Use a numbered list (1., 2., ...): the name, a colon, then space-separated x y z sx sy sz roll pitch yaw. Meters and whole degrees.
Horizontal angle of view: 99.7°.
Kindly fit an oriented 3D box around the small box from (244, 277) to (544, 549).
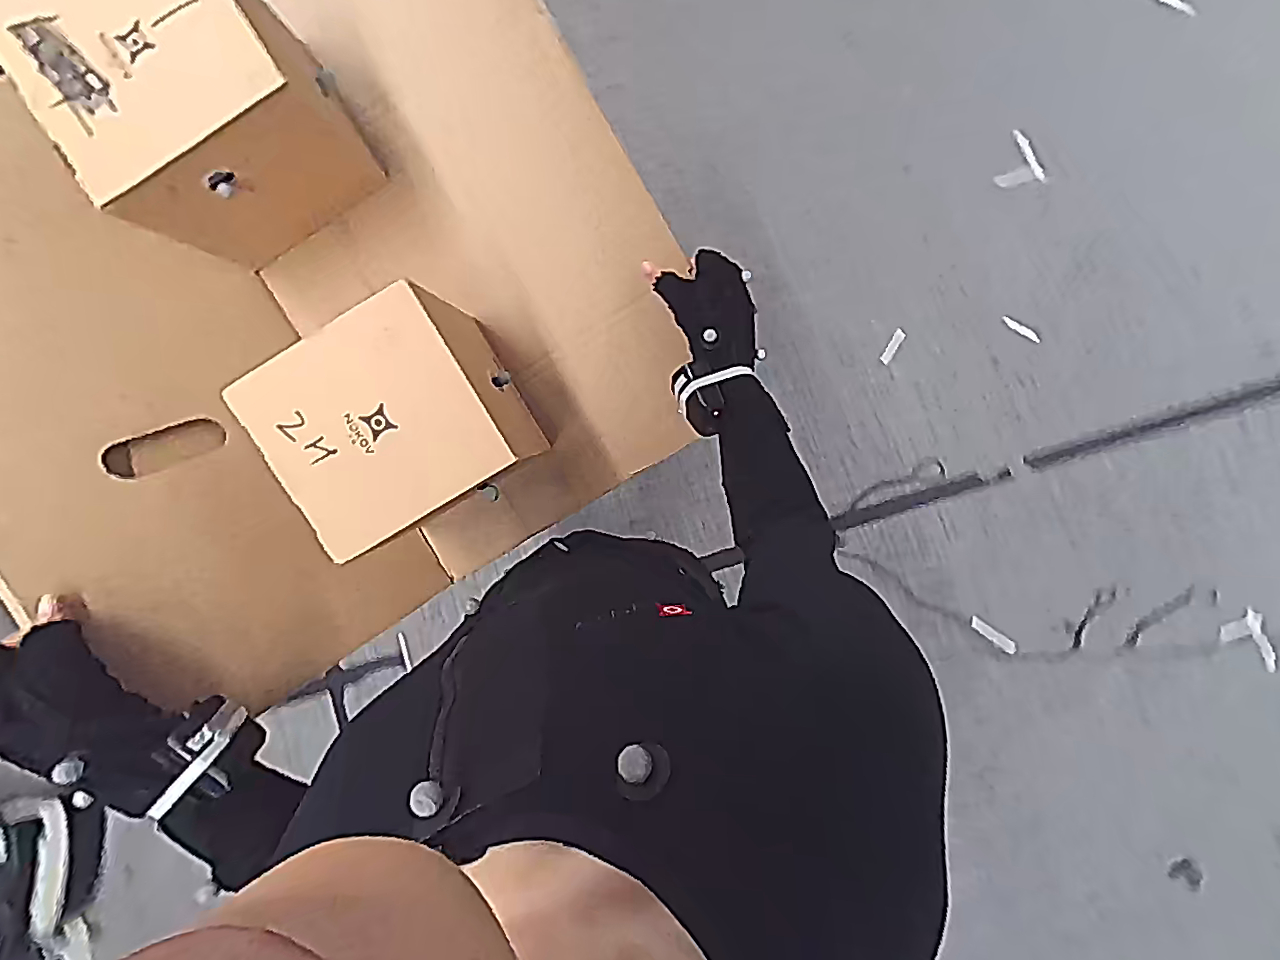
1. small box: -0.207 -0.061 0.517 0.179 0.176 0.168 -29 95 4
